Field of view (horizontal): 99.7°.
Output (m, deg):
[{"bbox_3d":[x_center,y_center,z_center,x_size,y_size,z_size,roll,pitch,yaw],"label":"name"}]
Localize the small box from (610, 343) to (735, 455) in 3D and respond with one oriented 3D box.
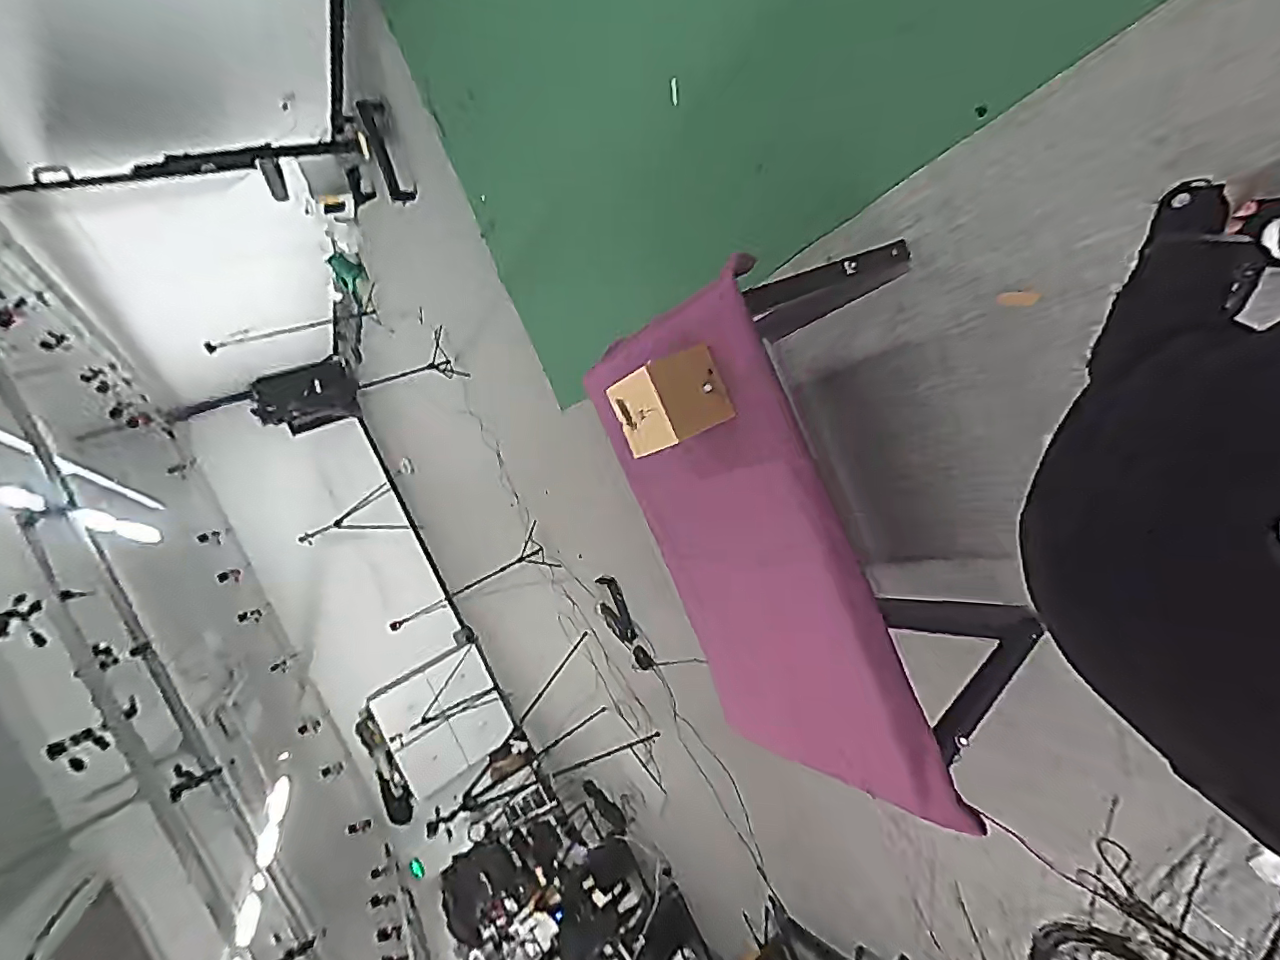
[{"bbox_3d":[0.068,-0.171,1.152,0.179,0.176,0.168,-16,100,60],"label":"small box"}]
